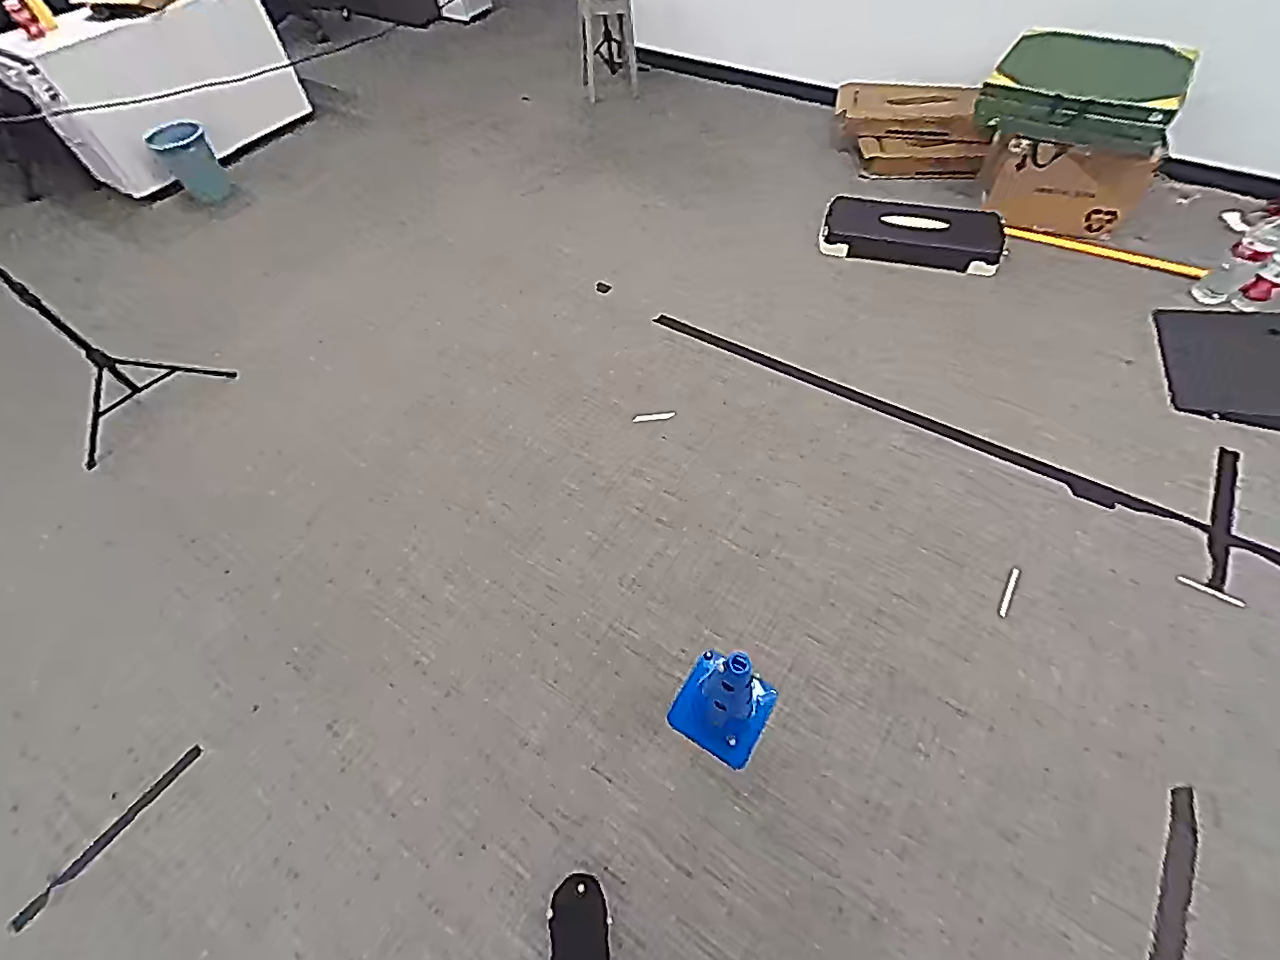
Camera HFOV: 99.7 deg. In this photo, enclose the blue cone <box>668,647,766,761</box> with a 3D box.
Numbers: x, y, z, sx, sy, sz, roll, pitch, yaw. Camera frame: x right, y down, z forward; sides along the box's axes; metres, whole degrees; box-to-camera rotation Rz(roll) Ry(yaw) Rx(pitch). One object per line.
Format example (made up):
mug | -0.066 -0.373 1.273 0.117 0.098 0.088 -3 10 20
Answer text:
blue cone | 0.169 0.425 1.110 0.192 0.380 0.193 28 61 21
